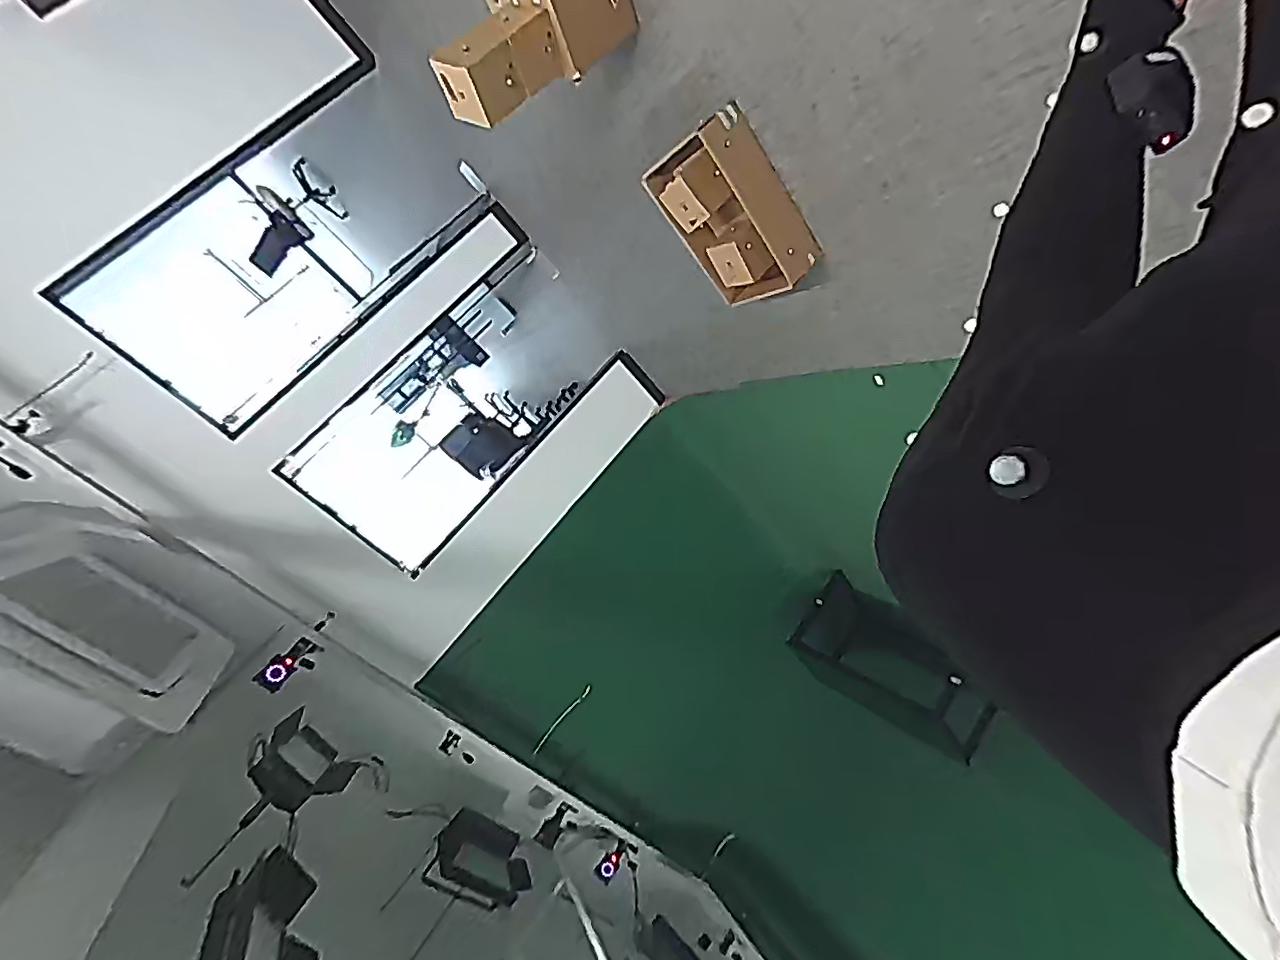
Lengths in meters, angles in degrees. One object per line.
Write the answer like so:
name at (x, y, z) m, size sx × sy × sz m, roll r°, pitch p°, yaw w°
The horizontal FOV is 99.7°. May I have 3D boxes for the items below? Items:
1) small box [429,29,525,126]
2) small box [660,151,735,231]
small box at (-0.476, -1.196, 1.603) m, size 0.179 × 0.176 × 0.168 m, roll 32°, pitch 164°, yaw 24°
small box at (0.211, -1.062, 1.976) m, size 0.179 × 0.176 × 0.168 m, roll 45°, pitch 165°, yaw -19°
